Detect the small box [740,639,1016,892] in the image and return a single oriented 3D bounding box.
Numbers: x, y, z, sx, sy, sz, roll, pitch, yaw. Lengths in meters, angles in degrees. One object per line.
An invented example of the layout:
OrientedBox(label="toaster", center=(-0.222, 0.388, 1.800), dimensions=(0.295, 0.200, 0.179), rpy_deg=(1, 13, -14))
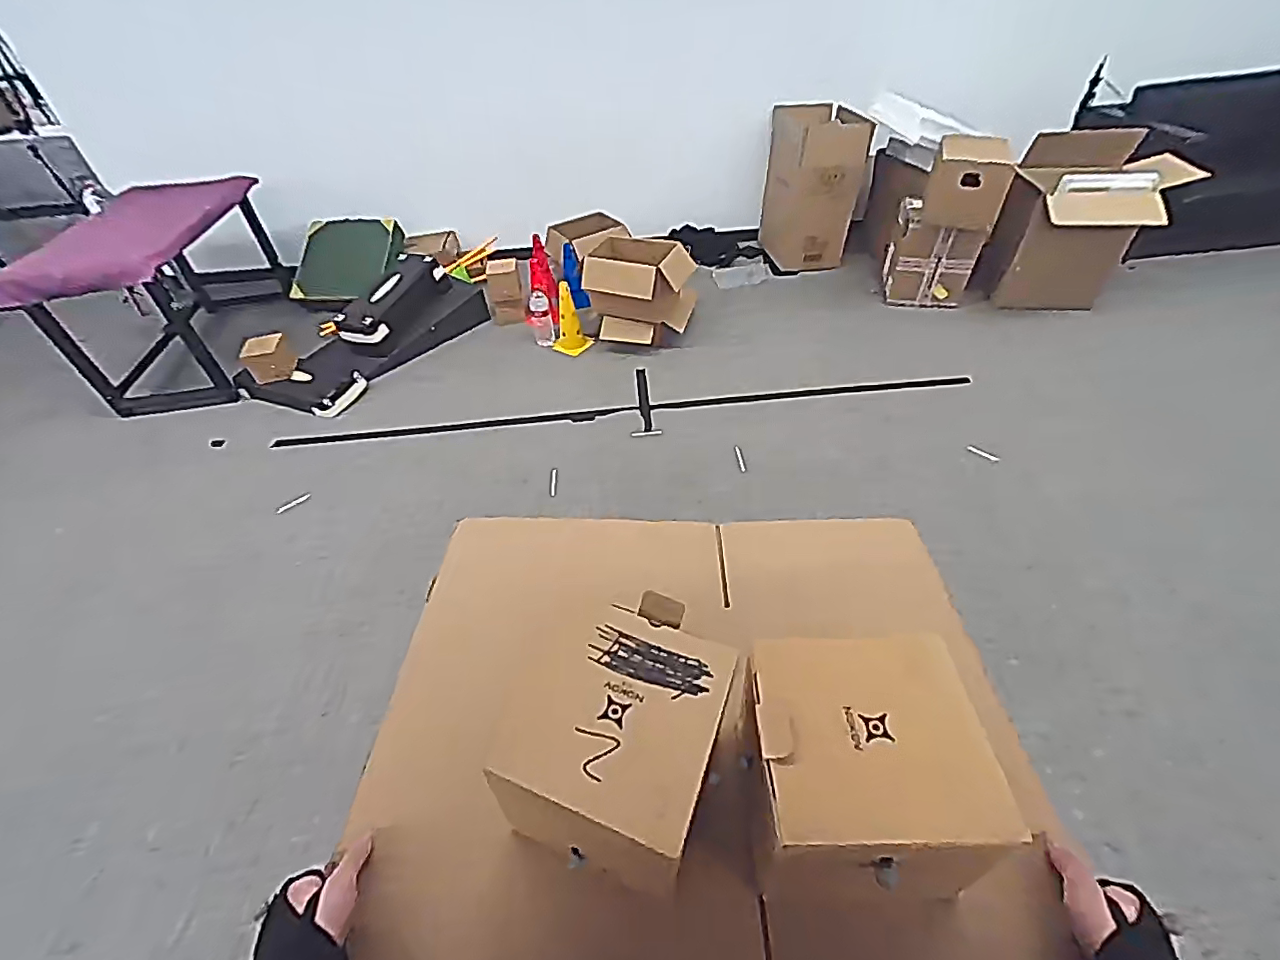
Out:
OrientedBox(label="small box", center=(0.195, 0.267, 0.507), dimensions=(0.179, 0.176, 0.168), rpy_deg=(-4, 42, 3))
